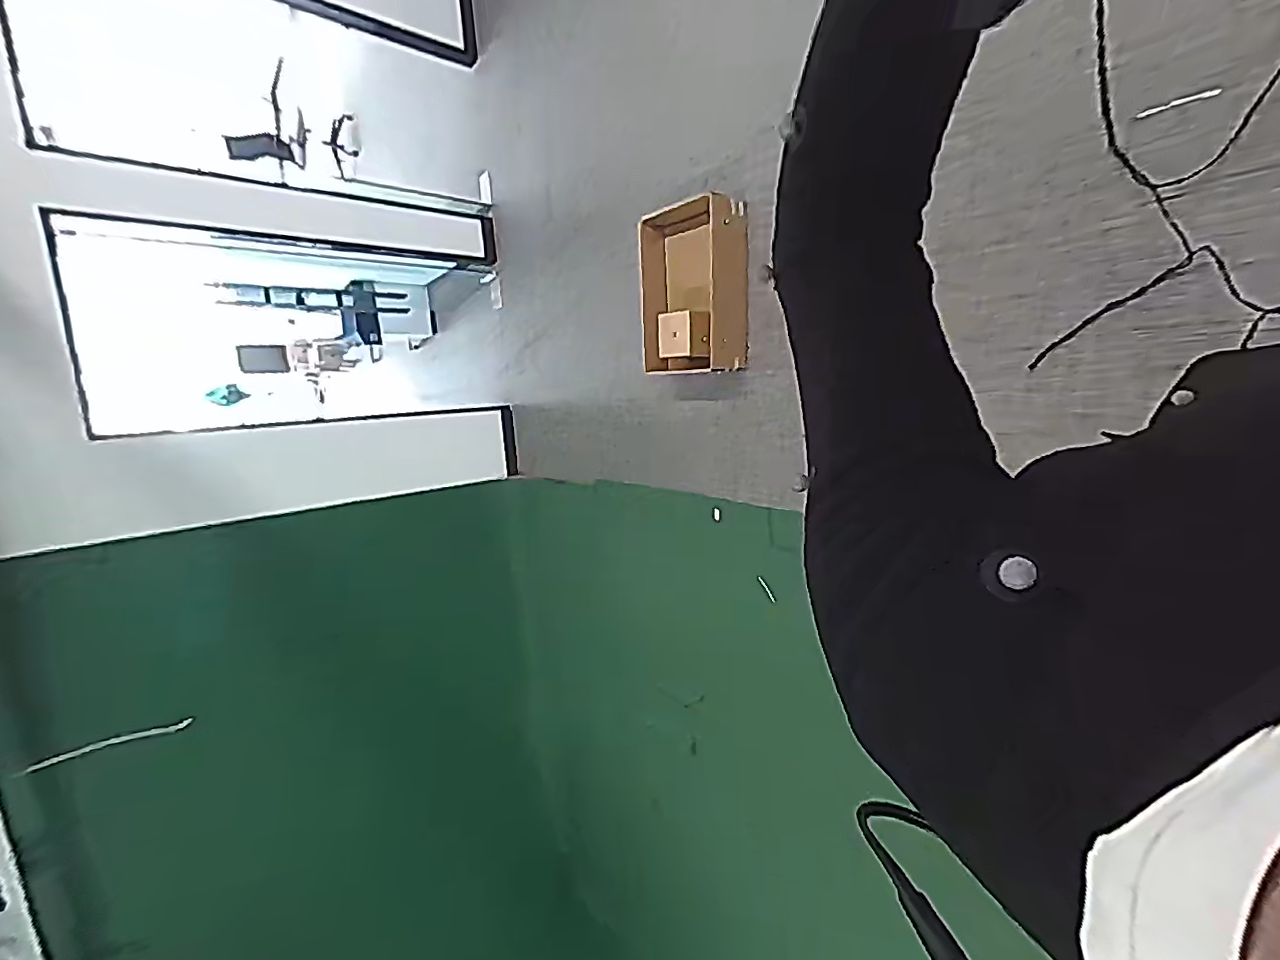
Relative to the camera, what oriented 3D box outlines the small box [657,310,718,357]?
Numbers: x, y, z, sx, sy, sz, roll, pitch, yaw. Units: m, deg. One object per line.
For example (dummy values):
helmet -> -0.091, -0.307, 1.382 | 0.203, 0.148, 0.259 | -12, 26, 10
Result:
small box -> 0.188, -0.566, 2.099 | 0.179, 0.176, 0.168 | 12, 107, 50
